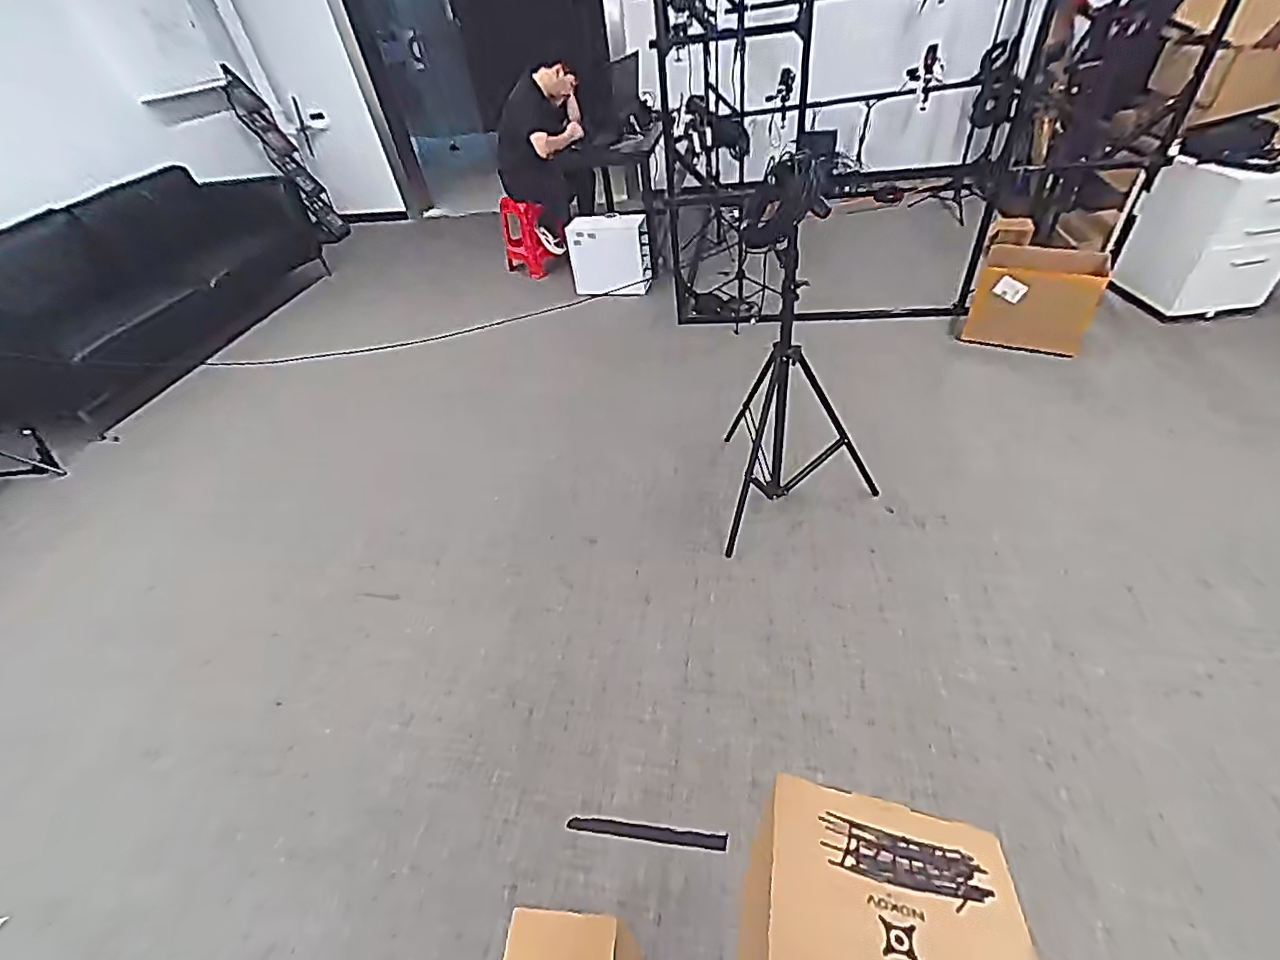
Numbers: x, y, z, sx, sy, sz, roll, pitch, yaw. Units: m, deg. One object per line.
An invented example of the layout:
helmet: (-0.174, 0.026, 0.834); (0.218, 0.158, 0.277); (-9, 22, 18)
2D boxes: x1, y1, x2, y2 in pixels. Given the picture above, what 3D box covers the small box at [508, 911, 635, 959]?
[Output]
small box: (-0.110, 0.809, 0.854); (0.179, 0.176, 0.168); (-2, 42, 8)
